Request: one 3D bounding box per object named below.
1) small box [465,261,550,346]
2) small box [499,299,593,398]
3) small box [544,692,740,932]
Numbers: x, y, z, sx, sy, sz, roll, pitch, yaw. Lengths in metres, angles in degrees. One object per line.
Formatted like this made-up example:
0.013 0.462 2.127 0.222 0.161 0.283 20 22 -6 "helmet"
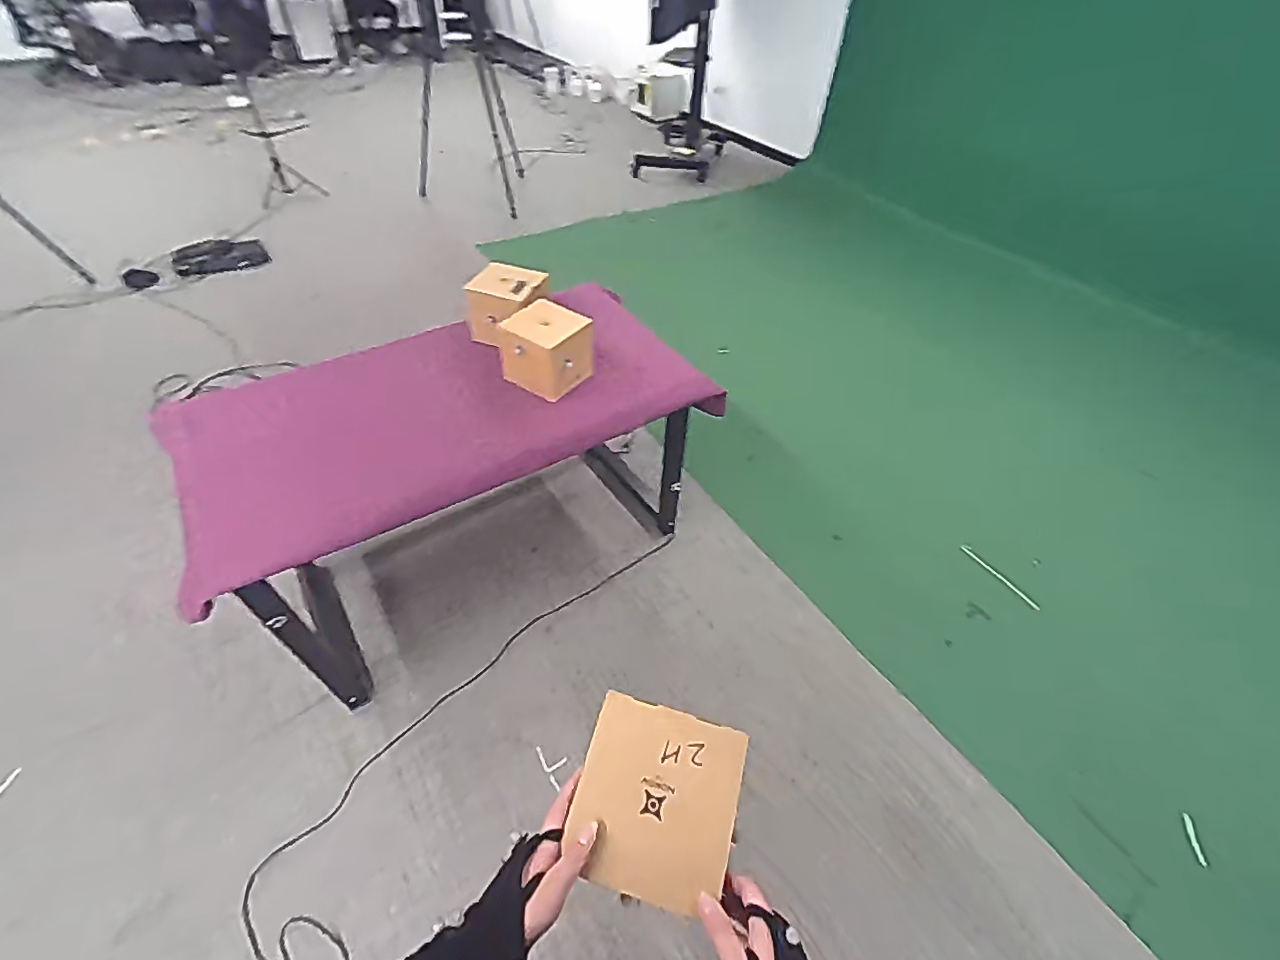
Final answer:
-0.362 -0.487 1.528 0.179 0.176 0.168 17 49 12 "small box"
-0.235 -0.335 1.403 0.179 0.176 0.168 29 53 22 "small box"
0.008 0.370 0.620 0.168 0.176 0.179 14 58 8 "small box"
